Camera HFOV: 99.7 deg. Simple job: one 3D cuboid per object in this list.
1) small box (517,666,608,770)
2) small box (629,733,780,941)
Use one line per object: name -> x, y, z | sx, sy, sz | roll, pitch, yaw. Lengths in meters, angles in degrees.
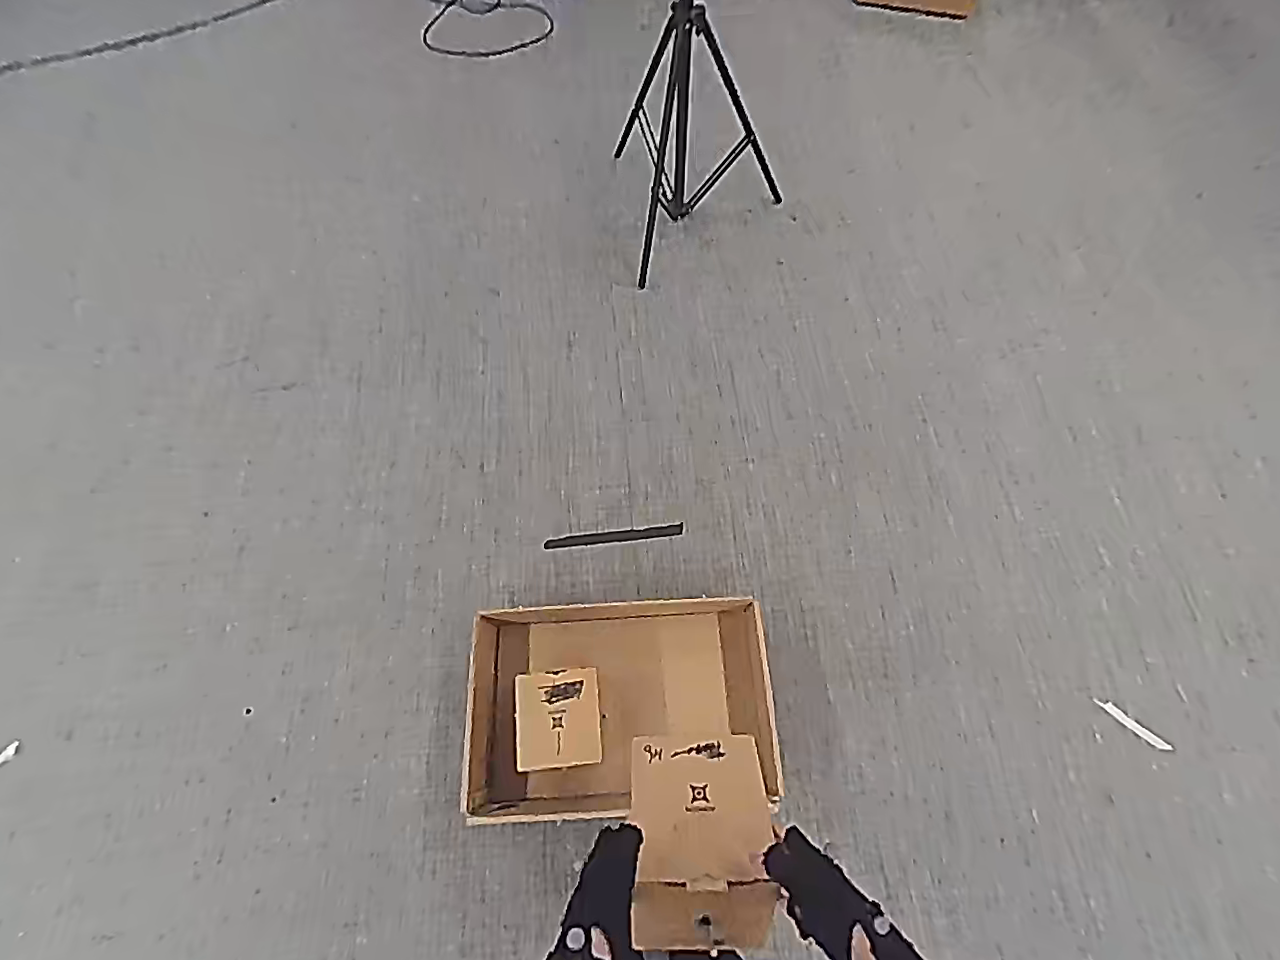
small box -> -0.158, 0.493, 1.126 | 0.168, 0.176, 0.179 | -5, 68, -1
small box -> 0.073, 0.453, 0.690 | 0.168, 0.176, 0.179 | 0, 31, 0
